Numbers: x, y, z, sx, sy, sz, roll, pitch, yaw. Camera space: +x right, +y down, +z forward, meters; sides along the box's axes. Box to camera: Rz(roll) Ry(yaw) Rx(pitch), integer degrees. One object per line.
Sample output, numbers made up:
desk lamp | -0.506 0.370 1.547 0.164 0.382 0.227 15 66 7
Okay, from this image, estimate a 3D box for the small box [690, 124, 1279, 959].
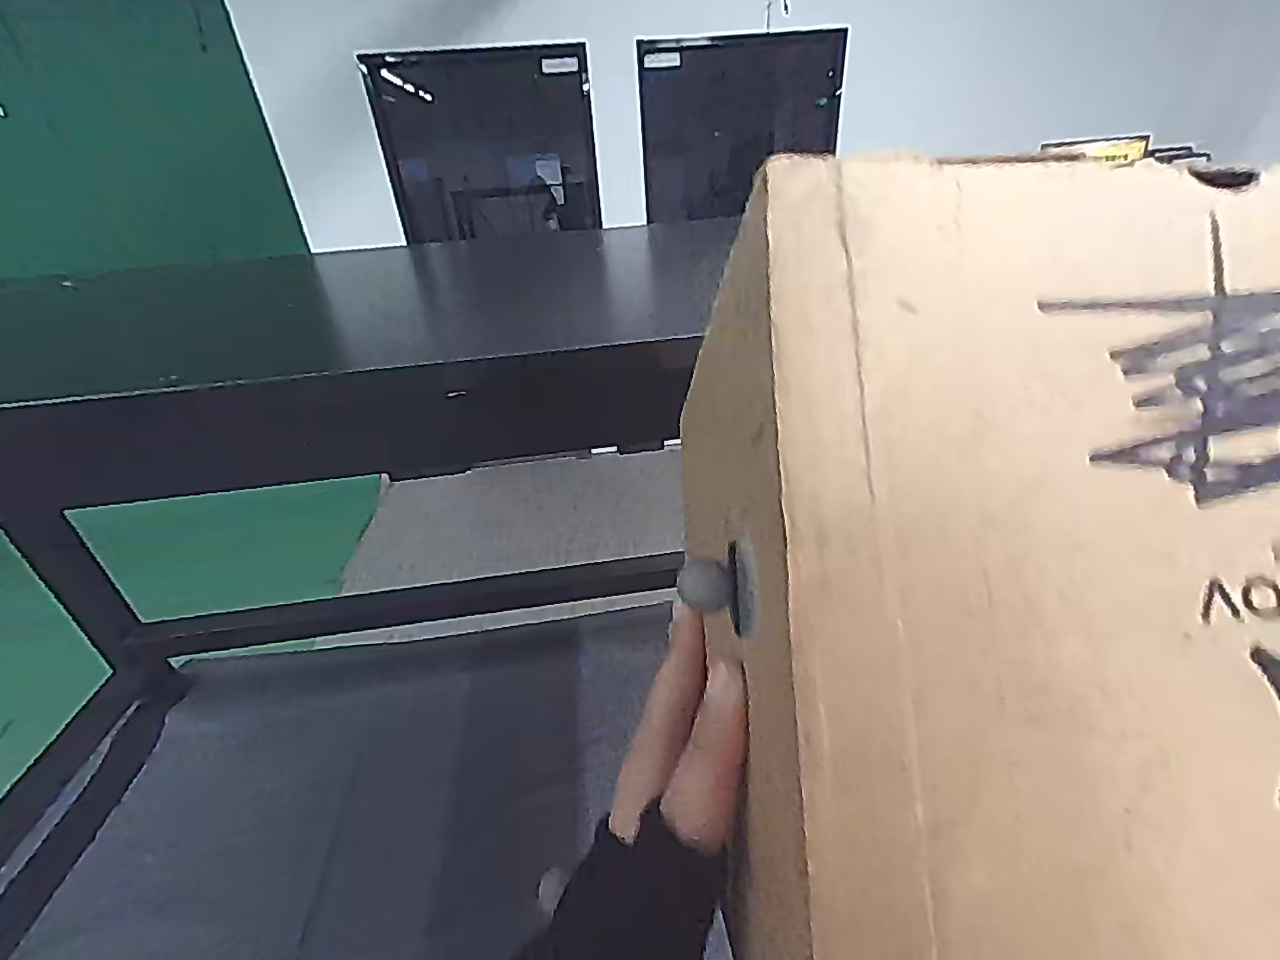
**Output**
small box | 0.105 0.037 0.160 0.168 0.179 0.176 -1 -9 0
